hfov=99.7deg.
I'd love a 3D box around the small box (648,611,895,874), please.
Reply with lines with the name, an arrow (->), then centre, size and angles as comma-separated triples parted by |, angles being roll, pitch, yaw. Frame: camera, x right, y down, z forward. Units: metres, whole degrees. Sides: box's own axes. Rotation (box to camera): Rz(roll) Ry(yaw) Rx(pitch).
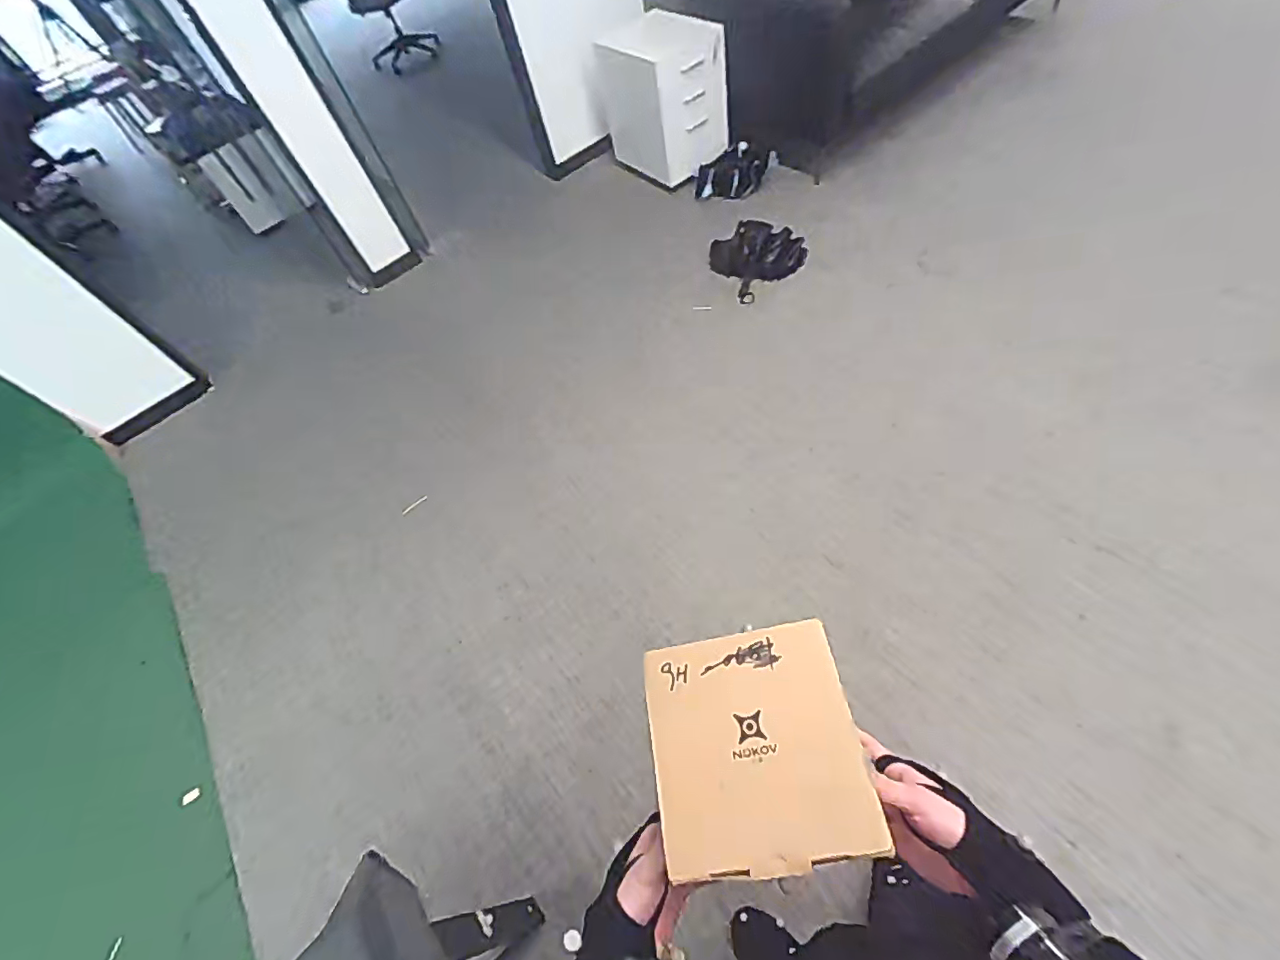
small box -> 0.112, 0.244, 0.502 | 0.168, 0.176, 0.179 | -12, 55, 6
